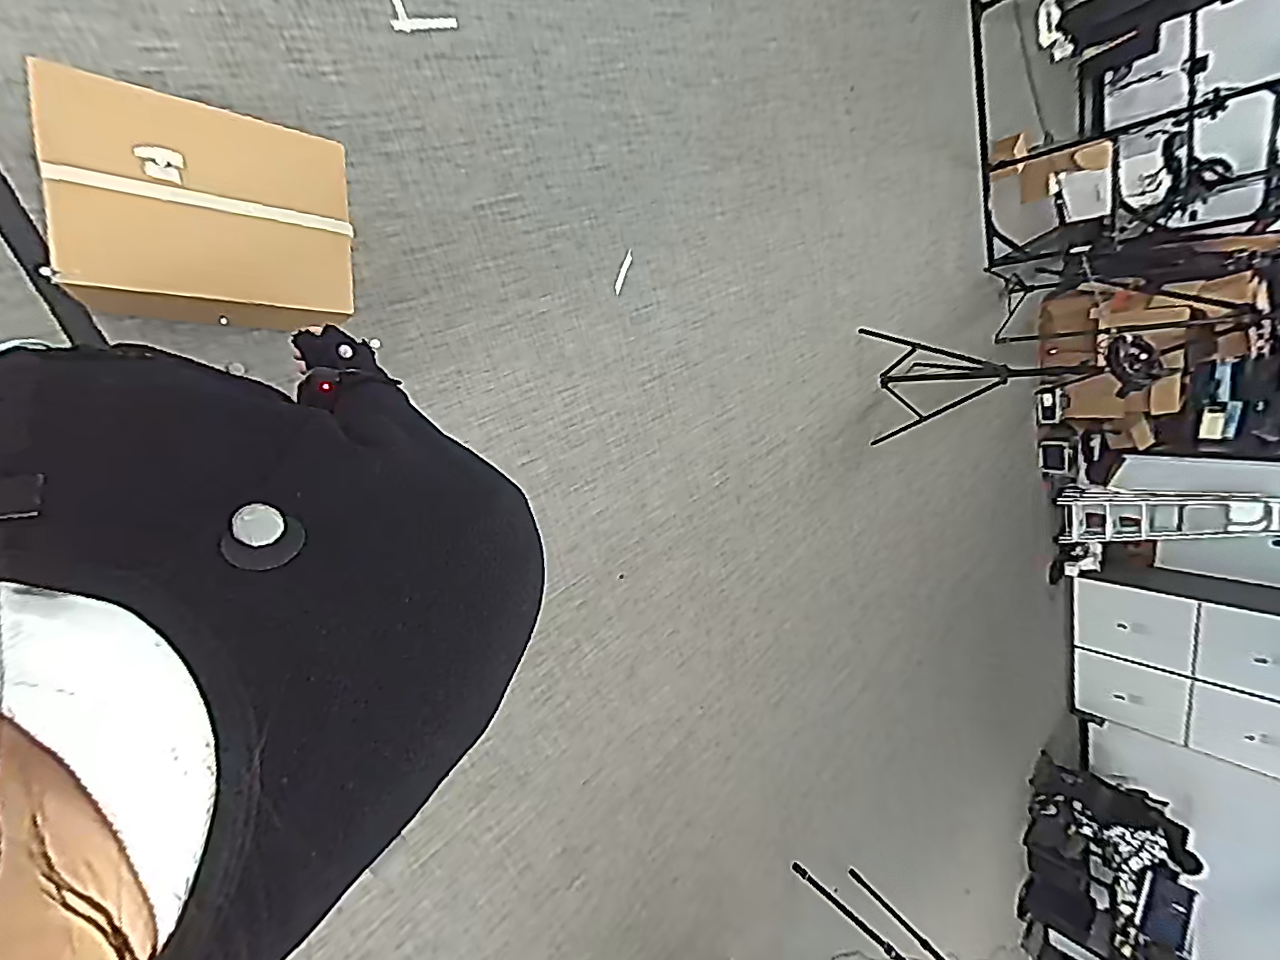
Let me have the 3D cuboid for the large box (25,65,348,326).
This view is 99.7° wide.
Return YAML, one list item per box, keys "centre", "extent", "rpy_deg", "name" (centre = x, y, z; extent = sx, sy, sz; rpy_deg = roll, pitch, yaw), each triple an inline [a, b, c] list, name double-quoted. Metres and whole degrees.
- centre: [-0.815, -0.479, 1.030]
  extent: [0.408, 0.320, 0.320]
  rpy_deg: [-5, 98, -37]
  name: "large box"
